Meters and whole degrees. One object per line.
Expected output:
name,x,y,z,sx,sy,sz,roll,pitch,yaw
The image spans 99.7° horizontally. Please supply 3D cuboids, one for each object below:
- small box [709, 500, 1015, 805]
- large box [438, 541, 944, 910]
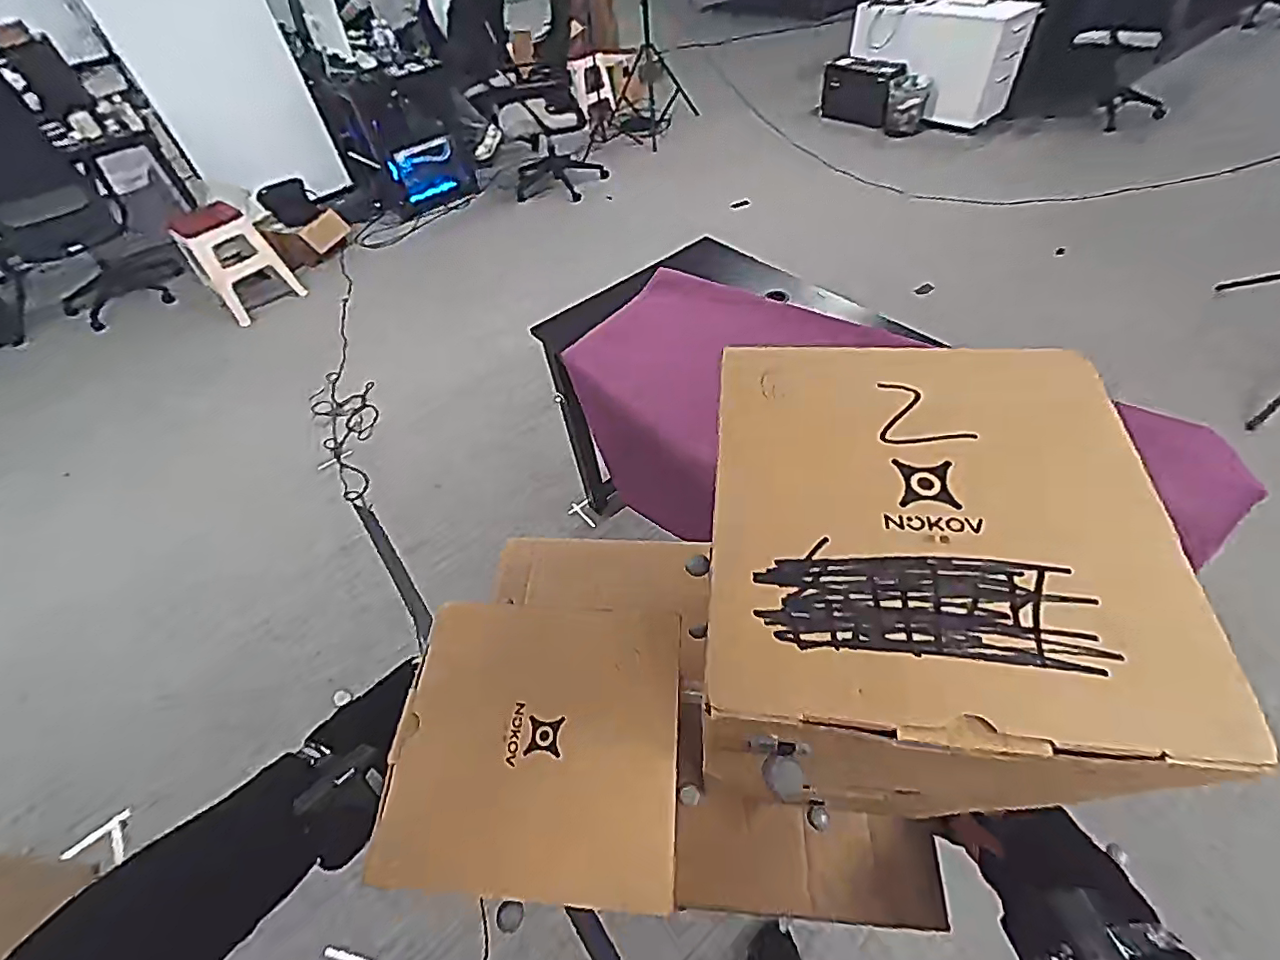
small box,0.138,0.134,0.413,0.168,0.176,0.179,1,56,9
large box,0.052,0.275,0.625,0.408,0.320,0.320,-1,55,6
